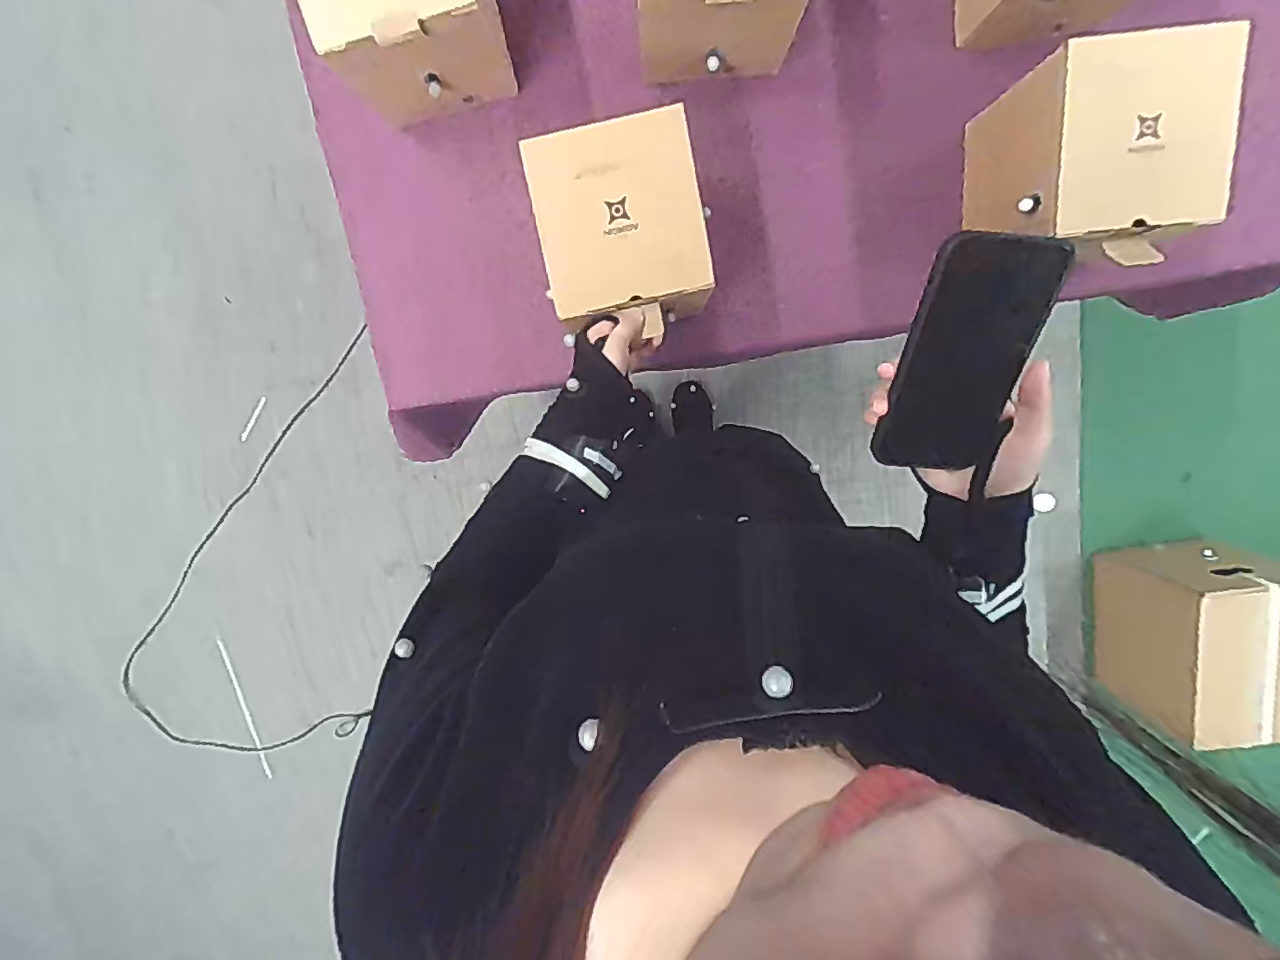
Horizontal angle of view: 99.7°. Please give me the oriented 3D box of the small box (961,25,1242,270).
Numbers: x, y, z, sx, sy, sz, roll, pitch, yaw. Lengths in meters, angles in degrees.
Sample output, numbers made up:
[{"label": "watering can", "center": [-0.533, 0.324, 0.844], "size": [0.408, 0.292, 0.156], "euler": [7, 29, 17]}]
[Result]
[{"label": "small box", "center": [0.480, -0.344, 0.593], "size": [0.168, 0.176, 0.179], "euler": [-4, 101, 2]}]

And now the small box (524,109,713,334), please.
[{"label": "small box", "center": [-0.017, -0.271, 0.615], "size": [0.168, 0.176, 0.179], "euler": [-11, 97, 2]}]

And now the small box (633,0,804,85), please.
[{"label": "small box", "center": [0.074, -0.552, 0.561], "size": [0.168, 0.176, 0.179], "euler": [-2, 101, 2]}]

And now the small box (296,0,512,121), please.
[{"label": "small box", "center": [-0.250, -0.517, 0.575], "size": [0.168, 0.176, 0.179], "euler": [-13, 101, 3]}]
